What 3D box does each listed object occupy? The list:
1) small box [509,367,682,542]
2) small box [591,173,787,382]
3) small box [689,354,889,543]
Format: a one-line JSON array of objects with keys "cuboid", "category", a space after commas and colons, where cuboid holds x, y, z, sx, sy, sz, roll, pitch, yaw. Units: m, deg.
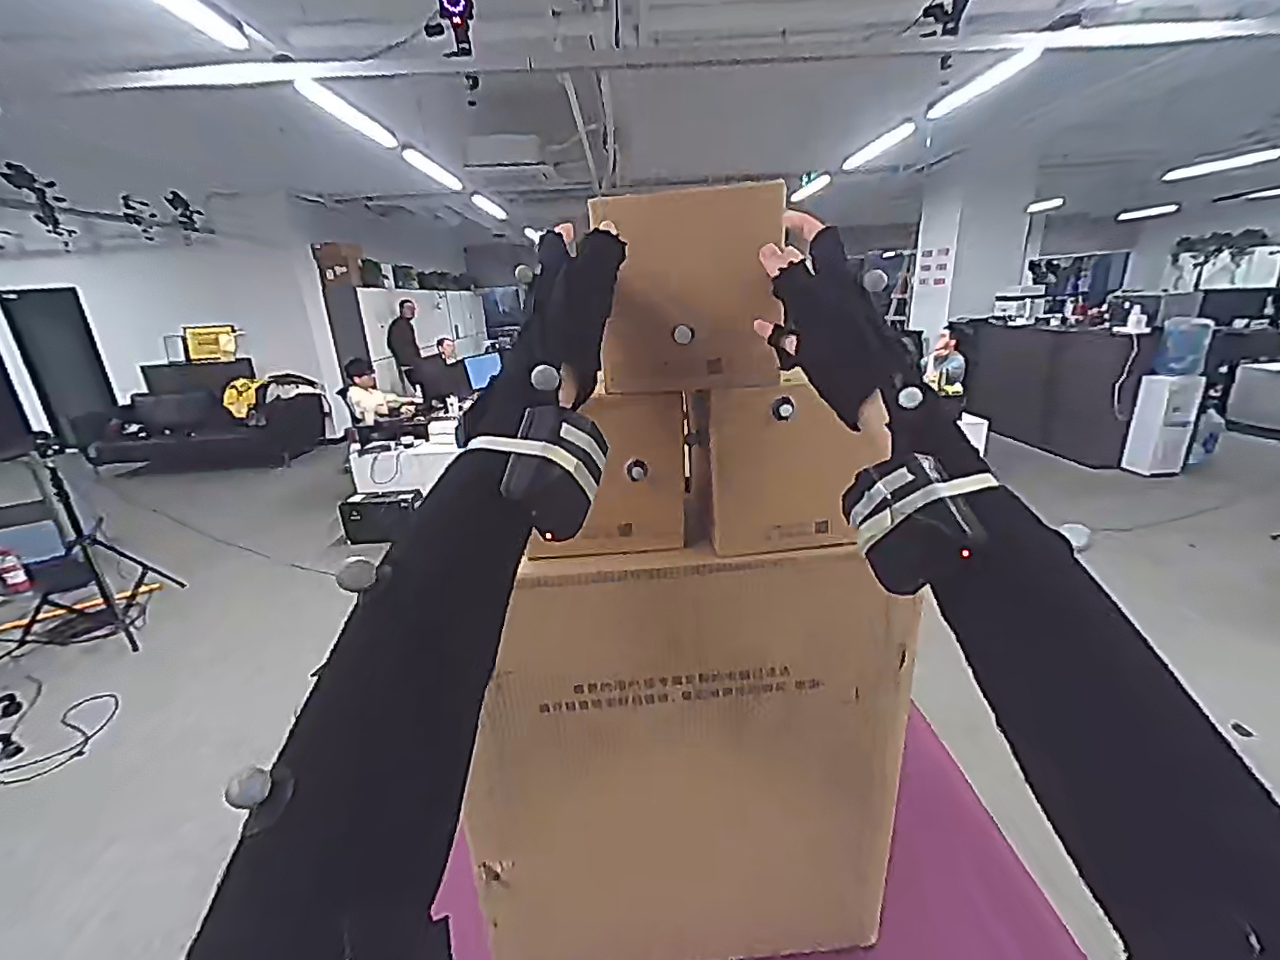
[{"cuboid": [-0.045, -0.034, 0.606, 0.168, 0.176, 0.179, -2, 16, -5], "category": "small box"}, {"cuboid": [0.050, -0.194, 0.550, 0.168, 0.176, 0.179, -2, 19, 6], "category": "small box"}, {"cuboid": [0.147, -0.043, 0.593, 0.168, 0.176, 0.179, -6, 17, -3], "category": "small box"}]
